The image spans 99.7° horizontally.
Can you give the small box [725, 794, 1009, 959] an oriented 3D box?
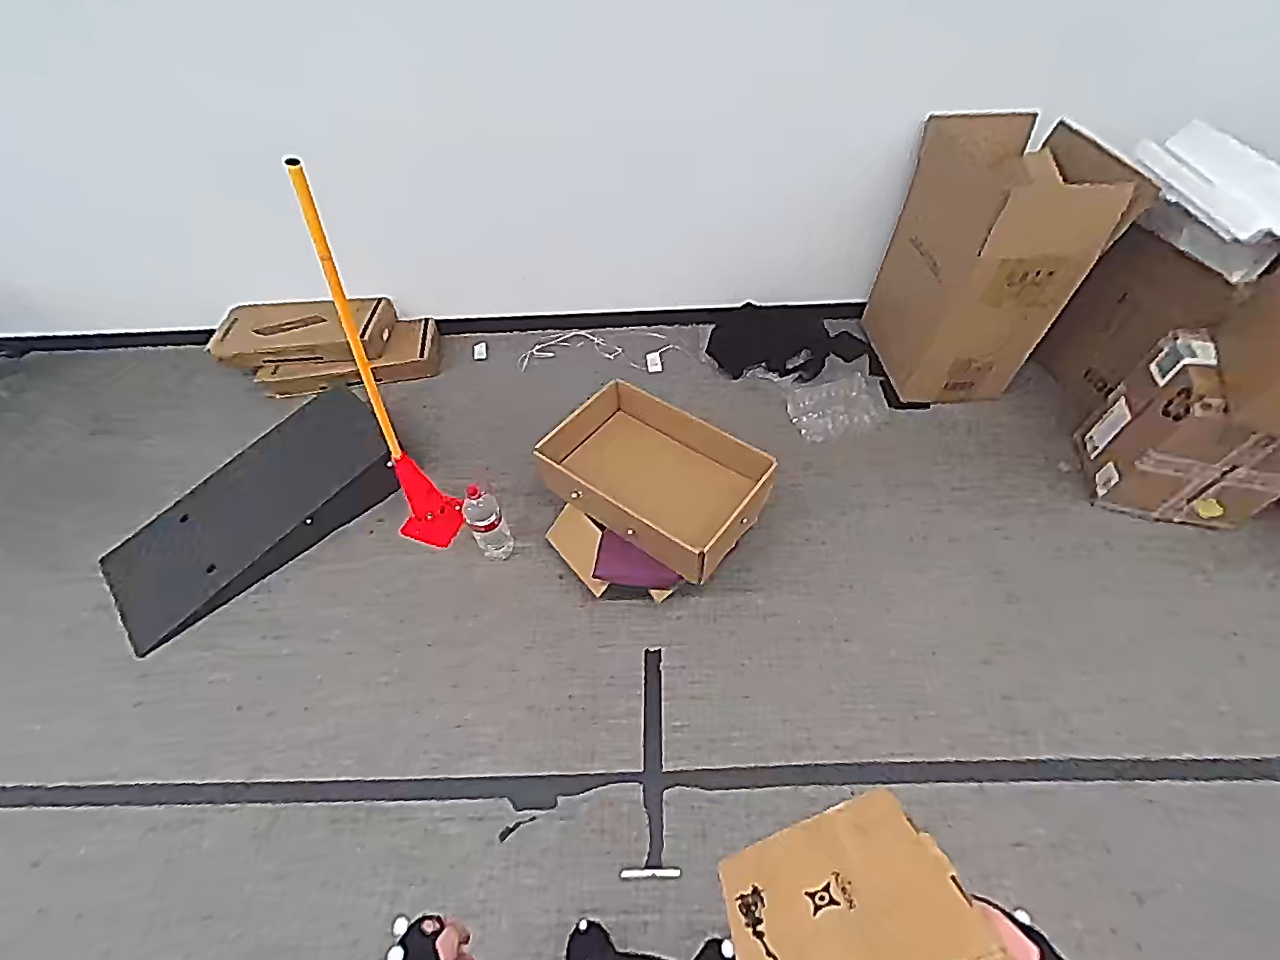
[{"bbox_3d":[0.192,0.411,0.441,0.179,0.168,0.176,-23,91,0],"label":"small box"}]
